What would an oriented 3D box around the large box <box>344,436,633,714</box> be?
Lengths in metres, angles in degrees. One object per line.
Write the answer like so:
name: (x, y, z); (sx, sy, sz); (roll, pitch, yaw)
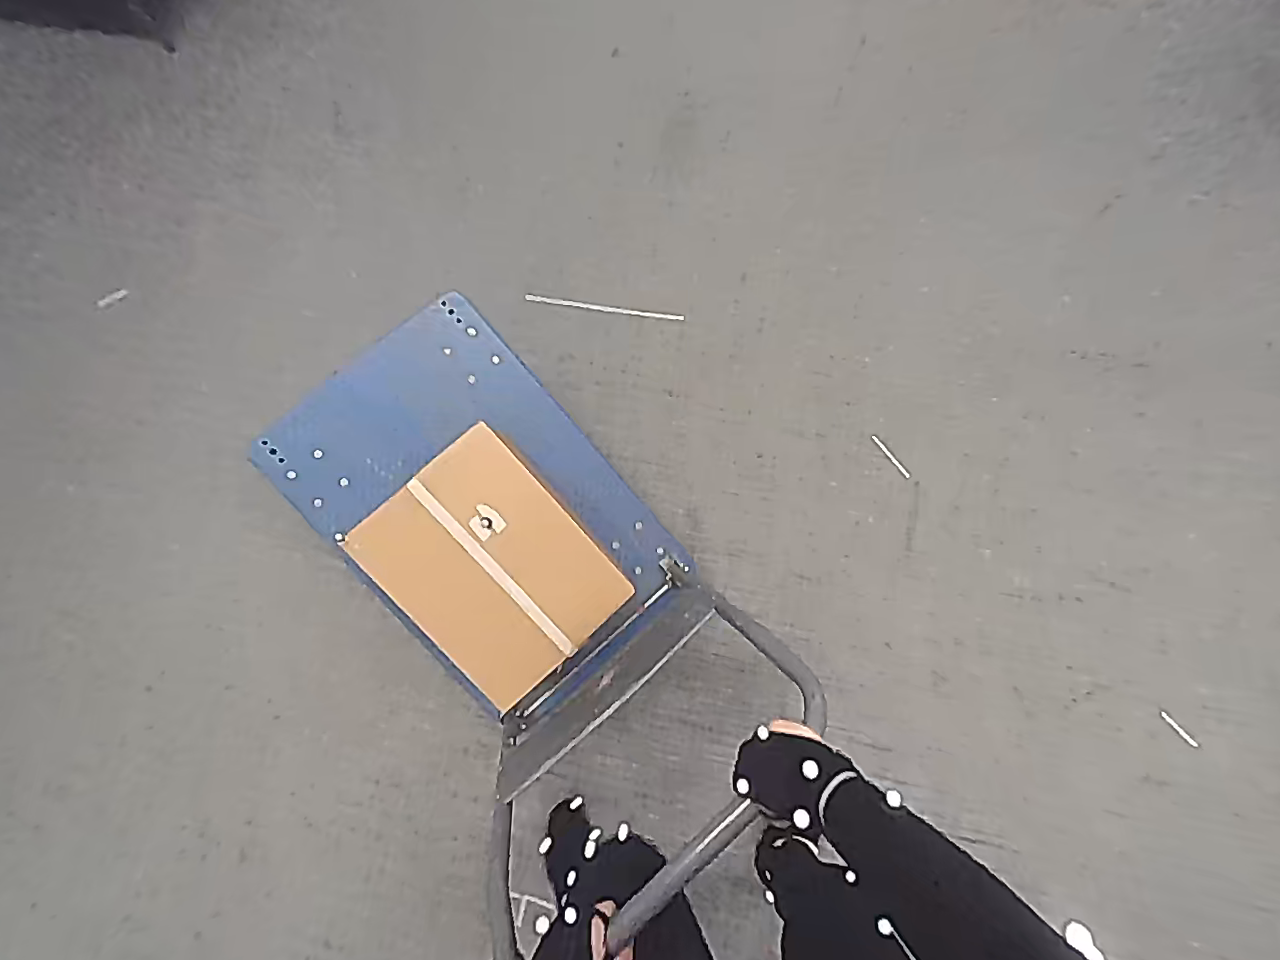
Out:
large box: (-0.271, 0.165, 1.082); (0.320, 0.320, 0.408); (-43, 96, -6)
